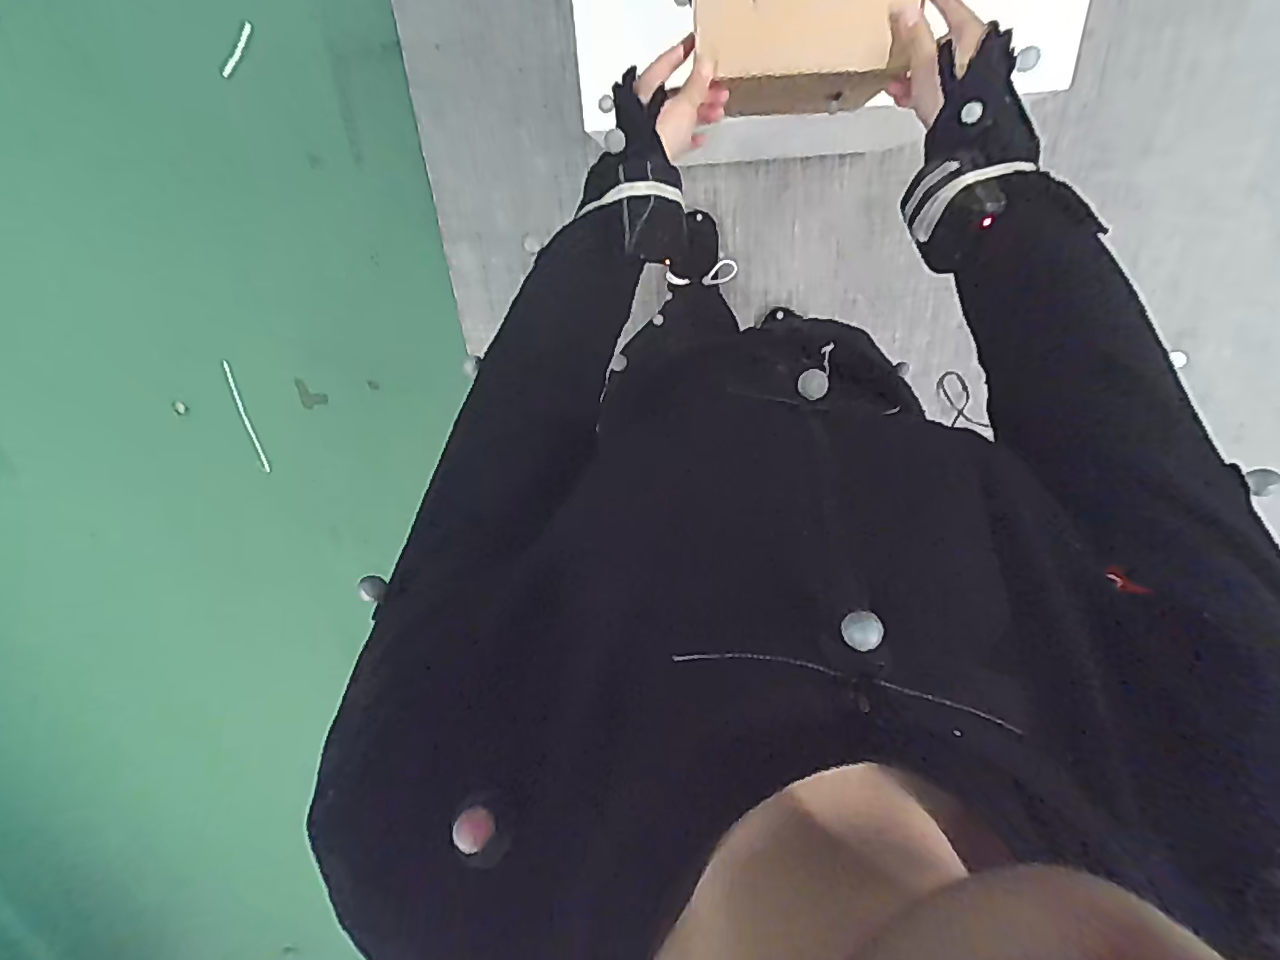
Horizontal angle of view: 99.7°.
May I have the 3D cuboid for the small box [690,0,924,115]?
[{"bbox_3d":[0.133,-0.433,0.470,0.179,0.176,0.168,0,114,6],"label":"small box"}]
